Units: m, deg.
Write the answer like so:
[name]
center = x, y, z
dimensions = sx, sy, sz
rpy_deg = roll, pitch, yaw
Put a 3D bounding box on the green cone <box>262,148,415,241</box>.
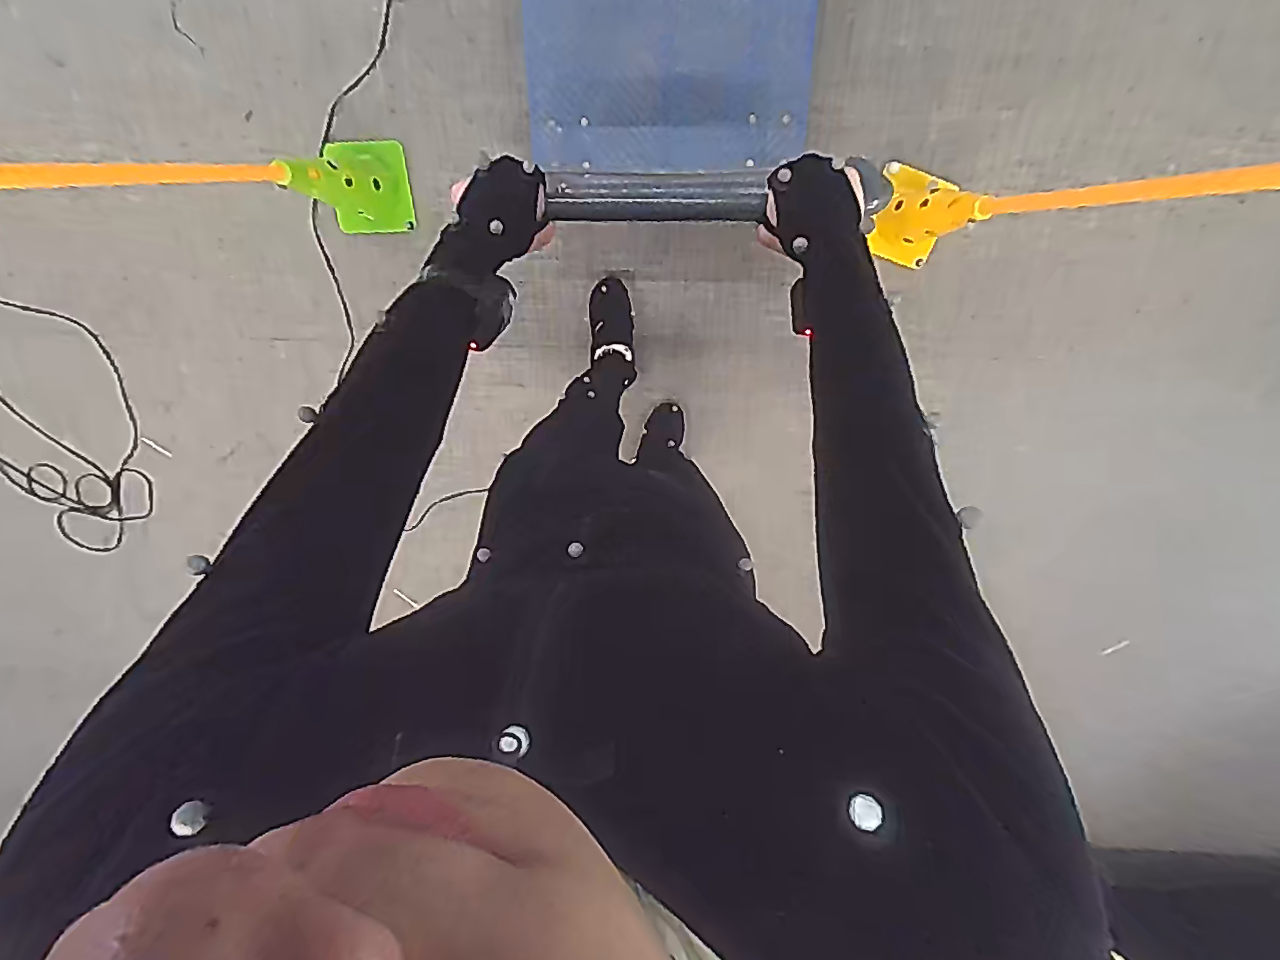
[green cone]
center = -0.684, -0.643, 1.191
dimensions = 0.202, 0.368, 0.200
rpy_deg = -1, 113, 4
